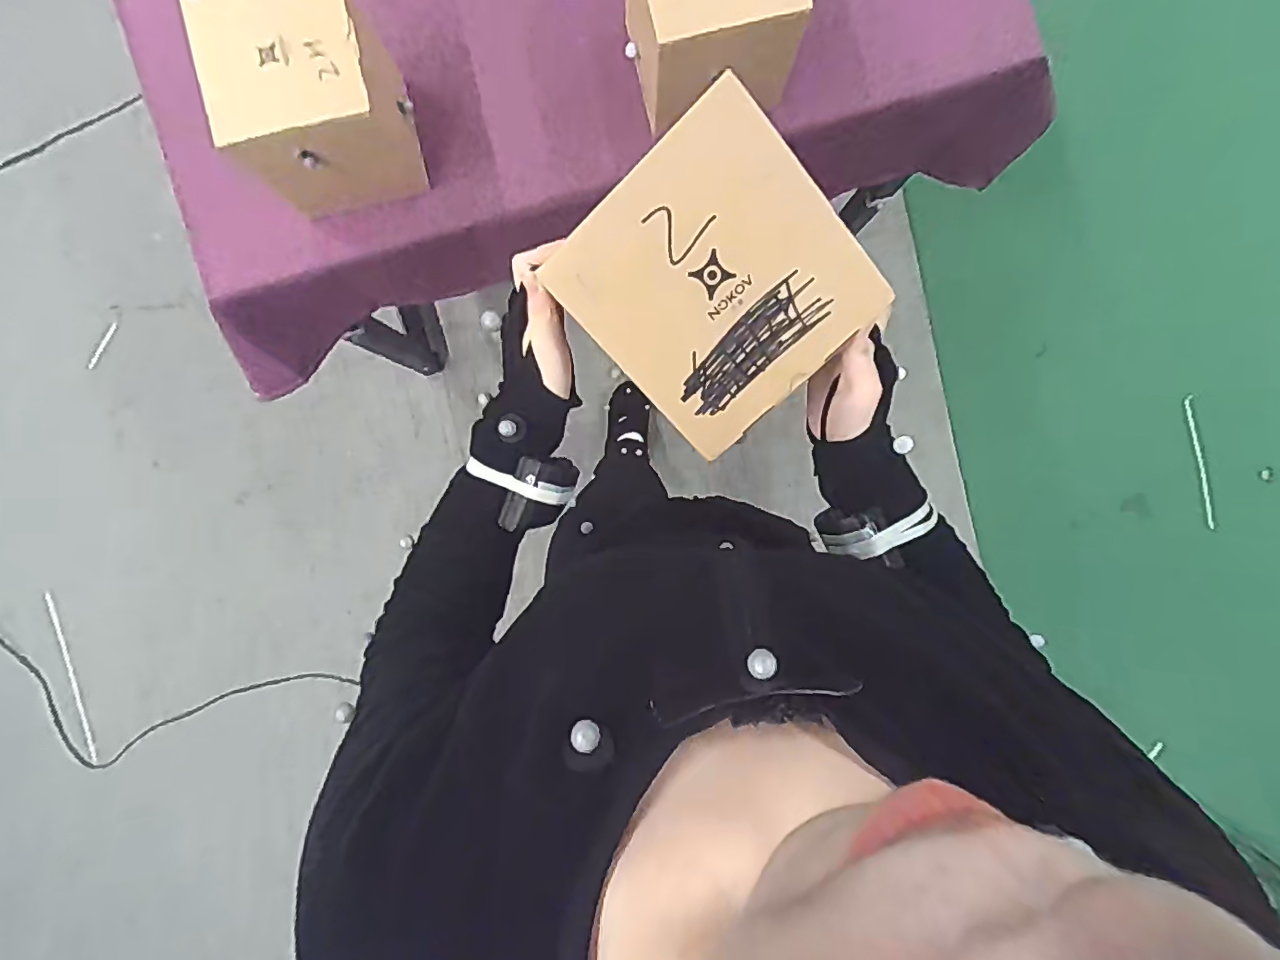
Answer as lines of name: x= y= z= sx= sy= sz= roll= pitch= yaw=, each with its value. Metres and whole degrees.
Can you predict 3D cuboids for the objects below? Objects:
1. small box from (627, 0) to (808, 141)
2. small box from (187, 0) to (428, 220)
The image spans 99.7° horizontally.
small box: x=0.082 y=-0.562 z=0.667 sx=0.179 sy=0.176 sz=0.168 roll=-13 pitch=90 yaw=1
small box: x=-0.391 y=-0.449 z=0.665 sx=0.179 sy=0.176 sz=0.168 roll=-13 pitch=91 yaw=0
